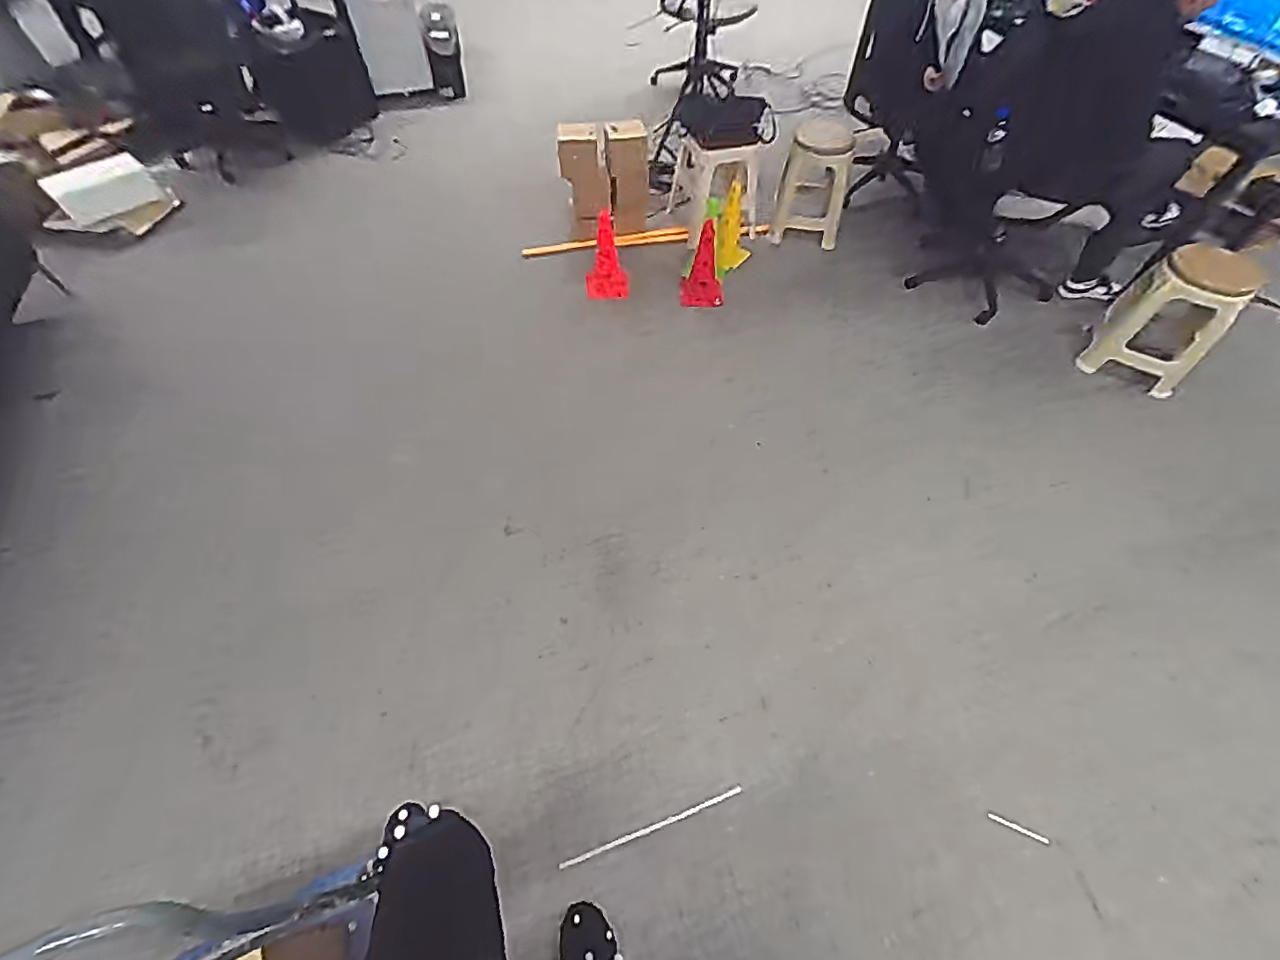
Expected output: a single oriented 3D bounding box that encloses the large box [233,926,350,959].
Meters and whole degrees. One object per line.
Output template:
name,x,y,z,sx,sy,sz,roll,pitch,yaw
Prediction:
large box,-0.645,1.016,0.839,0.320,0.320,0.408,-21,58,-15
